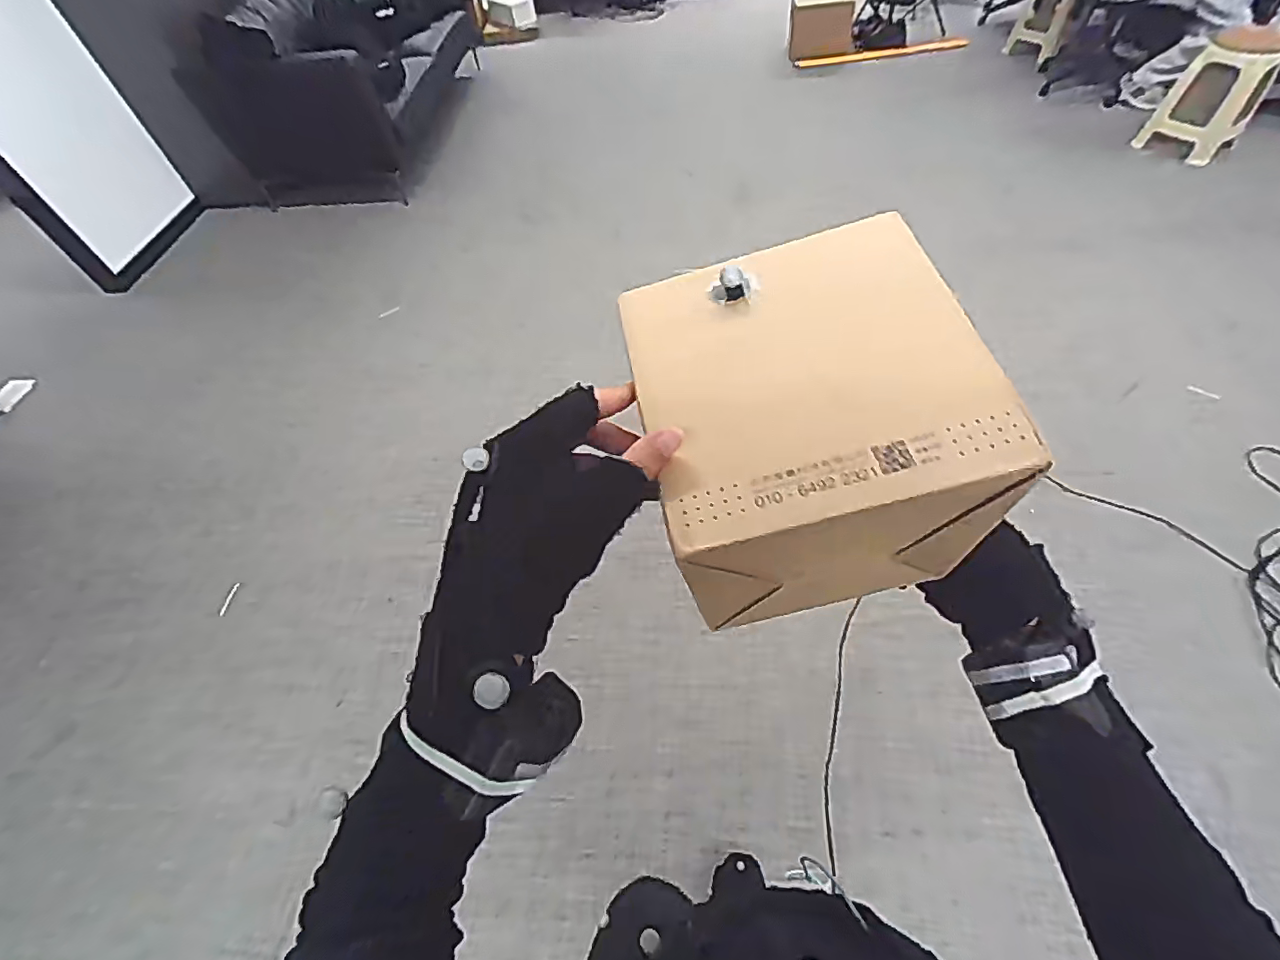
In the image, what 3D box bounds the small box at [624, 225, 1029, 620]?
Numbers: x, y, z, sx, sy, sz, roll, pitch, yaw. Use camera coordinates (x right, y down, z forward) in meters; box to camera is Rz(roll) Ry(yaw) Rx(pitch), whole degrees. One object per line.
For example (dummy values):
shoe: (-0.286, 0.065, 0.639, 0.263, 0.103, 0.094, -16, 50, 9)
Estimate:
small box: (0.099, -0.019, 0.352, 0.168, 0.179, 0.176, -15, 62, 5)
